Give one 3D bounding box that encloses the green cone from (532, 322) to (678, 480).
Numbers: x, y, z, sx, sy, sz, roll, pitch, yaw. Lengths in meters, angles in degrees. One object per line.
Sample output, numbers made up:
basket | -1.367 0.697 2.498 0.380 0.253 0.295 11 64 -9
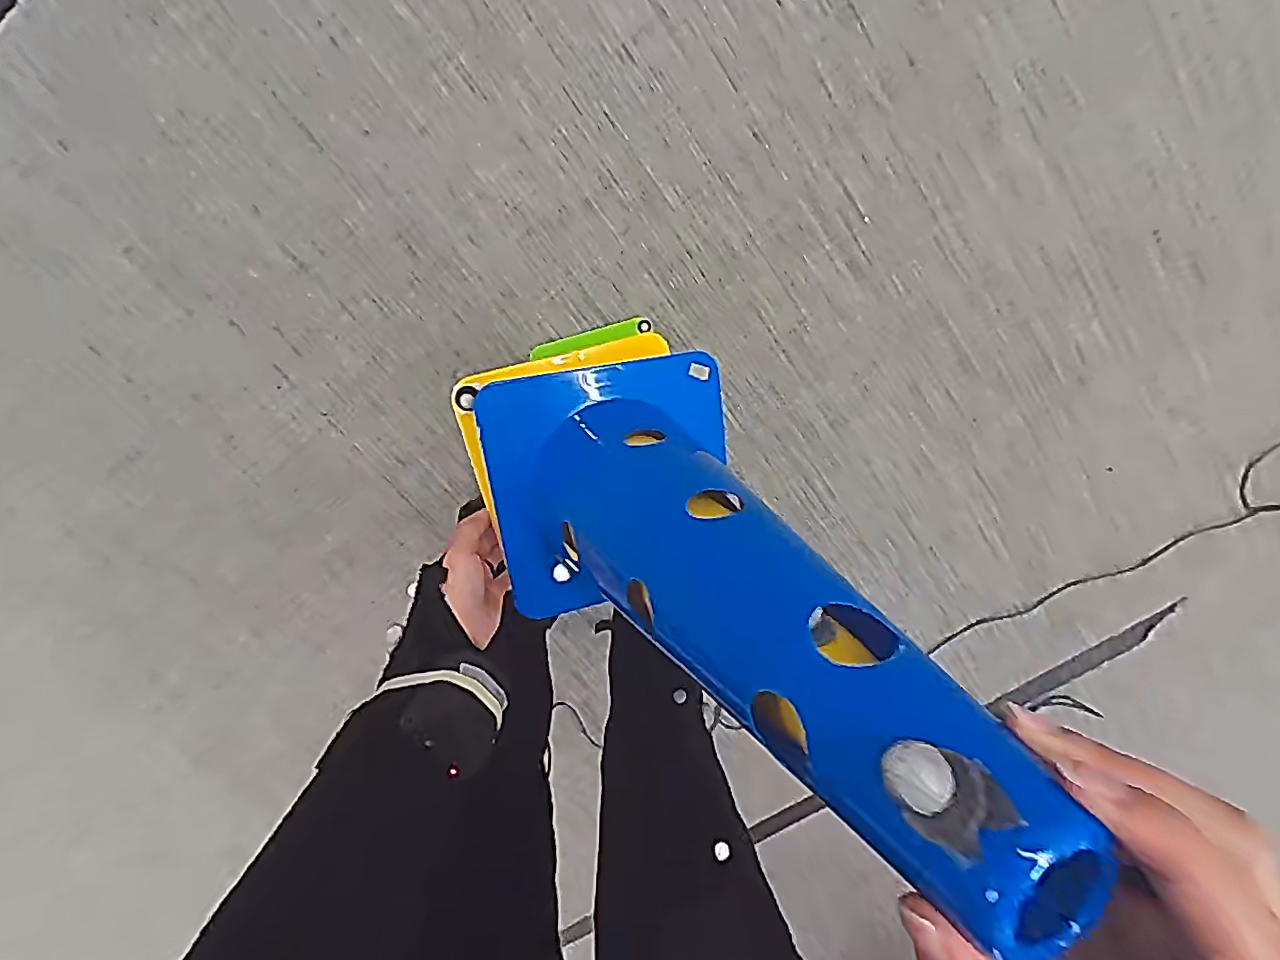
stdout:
green cone | -0.051 -0.079 0.706 0.200 0.368 0.202 -16 108 4
